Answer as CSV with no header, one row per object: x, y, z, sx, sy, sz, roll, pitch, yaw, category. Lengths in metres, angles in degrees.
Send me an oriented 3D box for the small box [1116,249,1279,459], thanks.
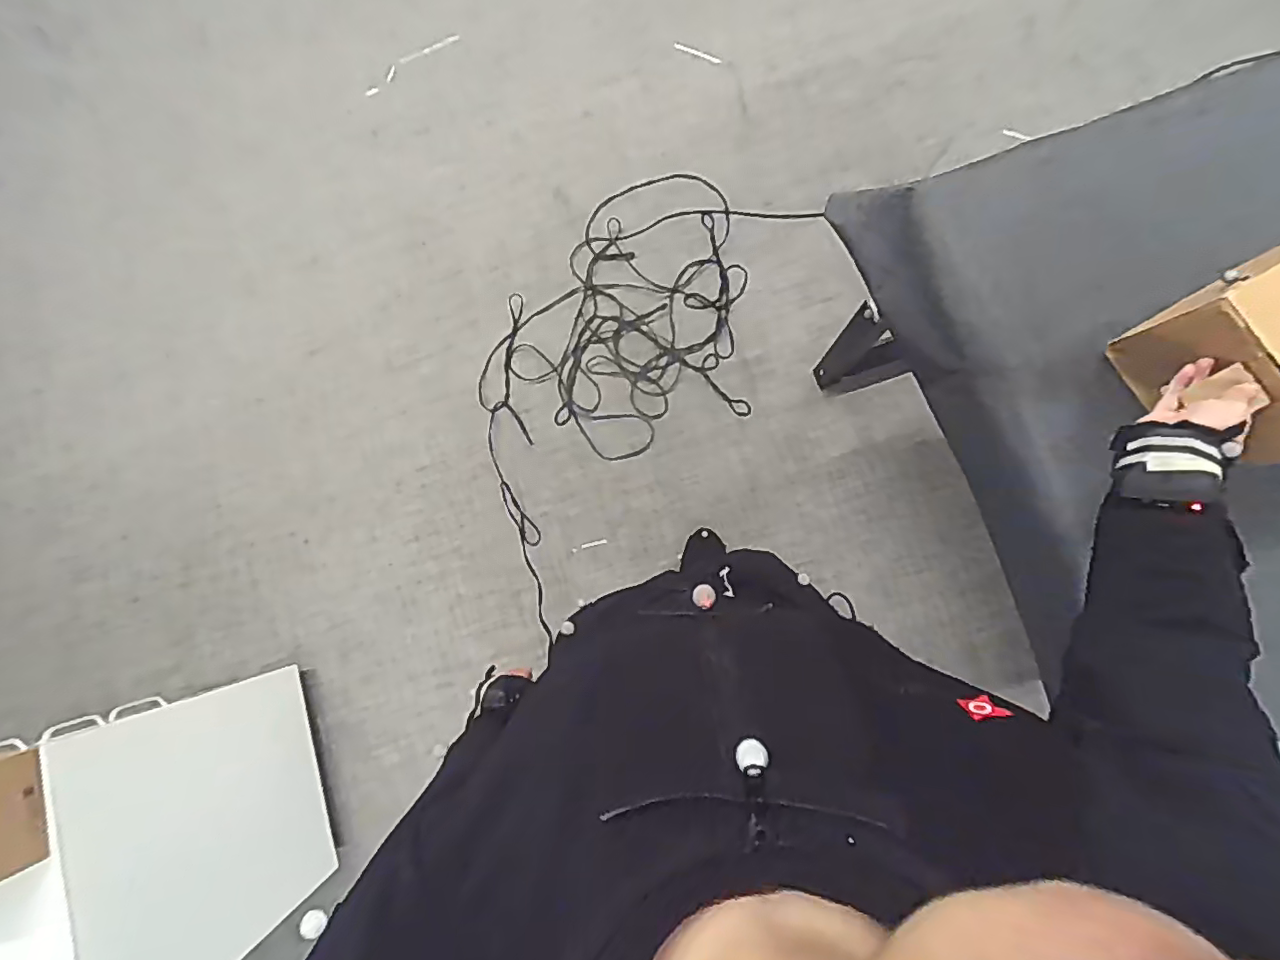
0.641,-0.134,0.526,0.179,0.176,0.168,-33,83,9,small box
